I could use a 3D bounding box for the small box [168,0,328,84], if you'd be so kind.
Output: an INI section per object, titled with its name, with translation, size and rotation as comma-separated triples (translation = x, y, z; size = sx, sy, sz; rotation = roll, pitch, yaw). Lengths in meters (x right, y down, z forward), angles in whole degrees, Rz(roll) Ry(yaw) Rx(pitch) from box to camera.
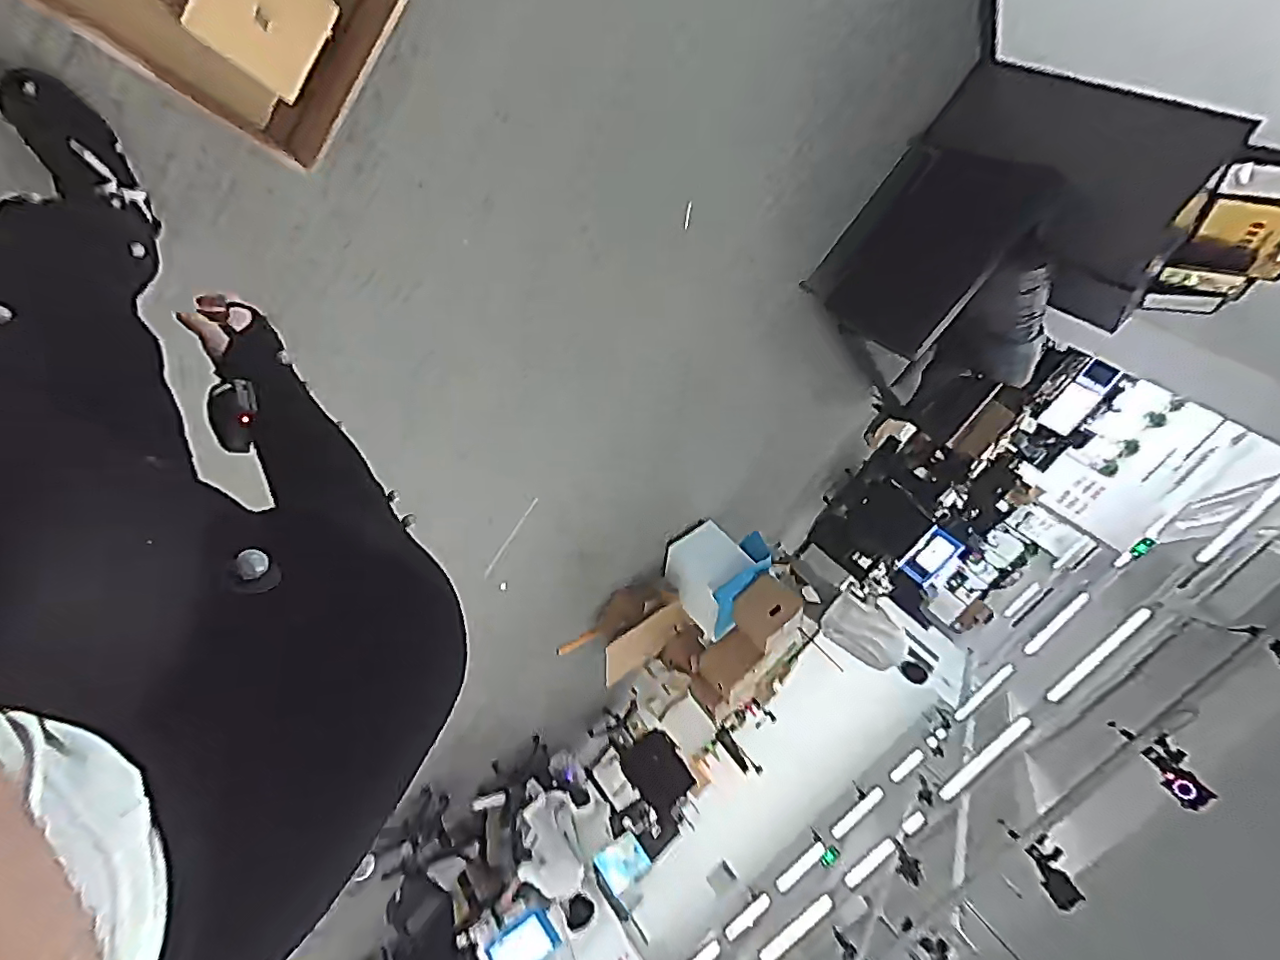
[small box]
translation = -0.660, -0.818, 0.897
size = 0.179, 0.176, 0.168
rotation = -52, 150, 13
